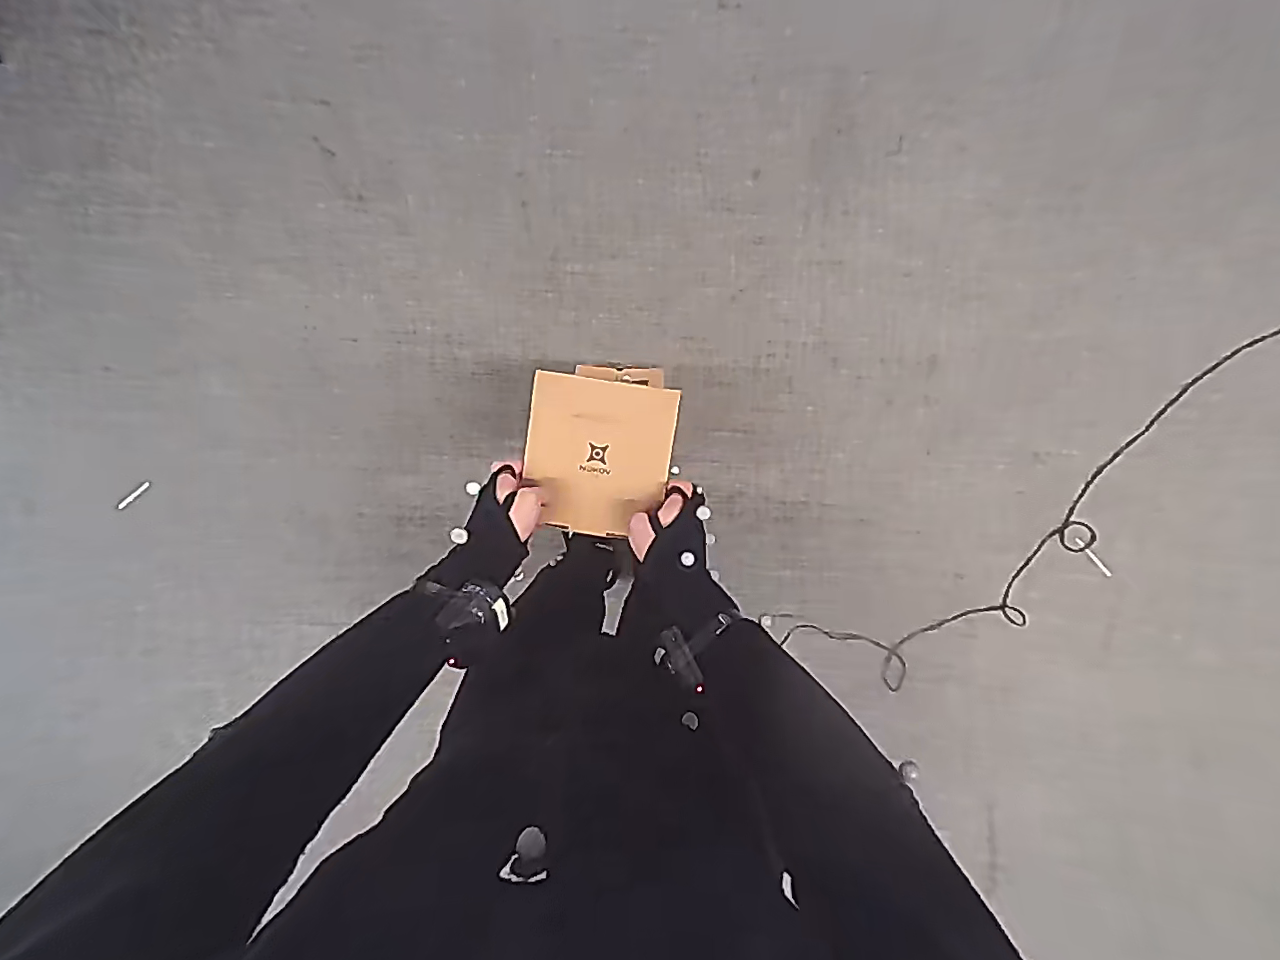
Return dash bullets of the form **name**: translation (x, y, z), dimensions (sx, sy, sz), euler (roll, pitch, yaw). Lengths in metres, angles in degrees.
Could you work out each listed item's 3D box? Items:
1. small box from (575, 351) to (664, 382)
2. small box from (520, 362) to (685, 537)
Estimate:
- **small box**: translation (-0.048, -0.148, 1.070), dimensions (0.168, 0.176, 0.179), euler (6, 97, -1)
- **small box**: translation (-0.042, -0.042, 0.682), dimensions (0.168, 0.176, 0.179), euler (9, 97, -1)
